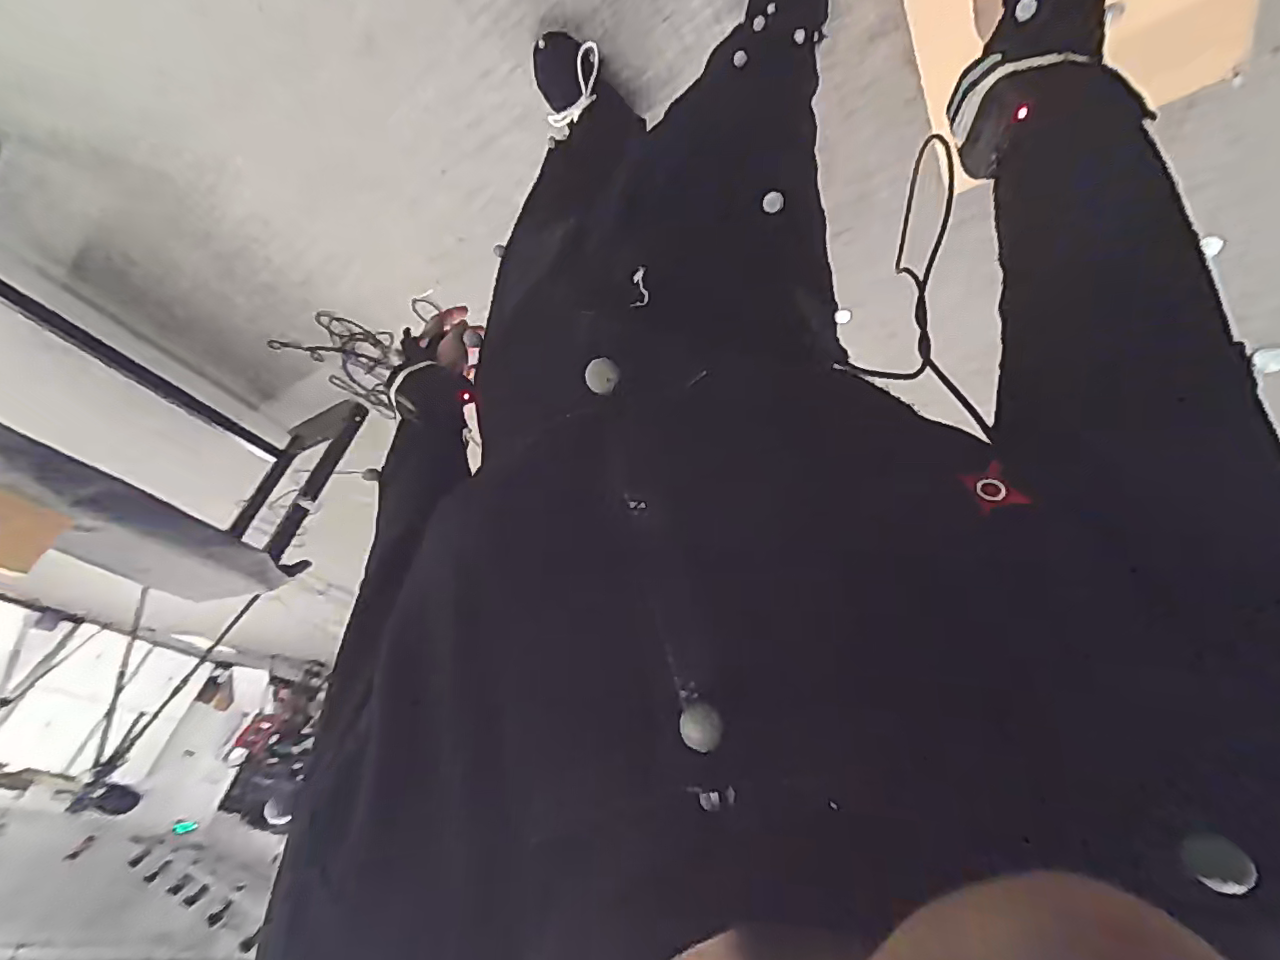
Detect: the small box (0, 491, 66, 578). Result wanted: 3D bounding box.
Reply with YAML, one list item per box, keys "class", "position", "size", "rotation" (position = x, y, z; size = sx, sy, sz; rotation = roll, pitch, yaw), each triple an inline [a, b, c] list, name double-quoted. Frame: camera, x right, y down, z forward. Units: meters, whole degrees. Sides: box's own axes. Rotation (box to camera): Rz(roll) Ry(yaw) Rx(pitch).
- class: "small box"
  position: [-1.624, 0.132, 1.351]
  size: [0.168, 0.176, 0.179]
  rotation: [-6, 142, 28]

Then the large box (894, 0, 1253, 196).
- class: "large box"
  position: [0.487, -0.671, 0.665]
  size: [0.320, 0.320, 0.408]
  rotation: [-13, 140, 34]
